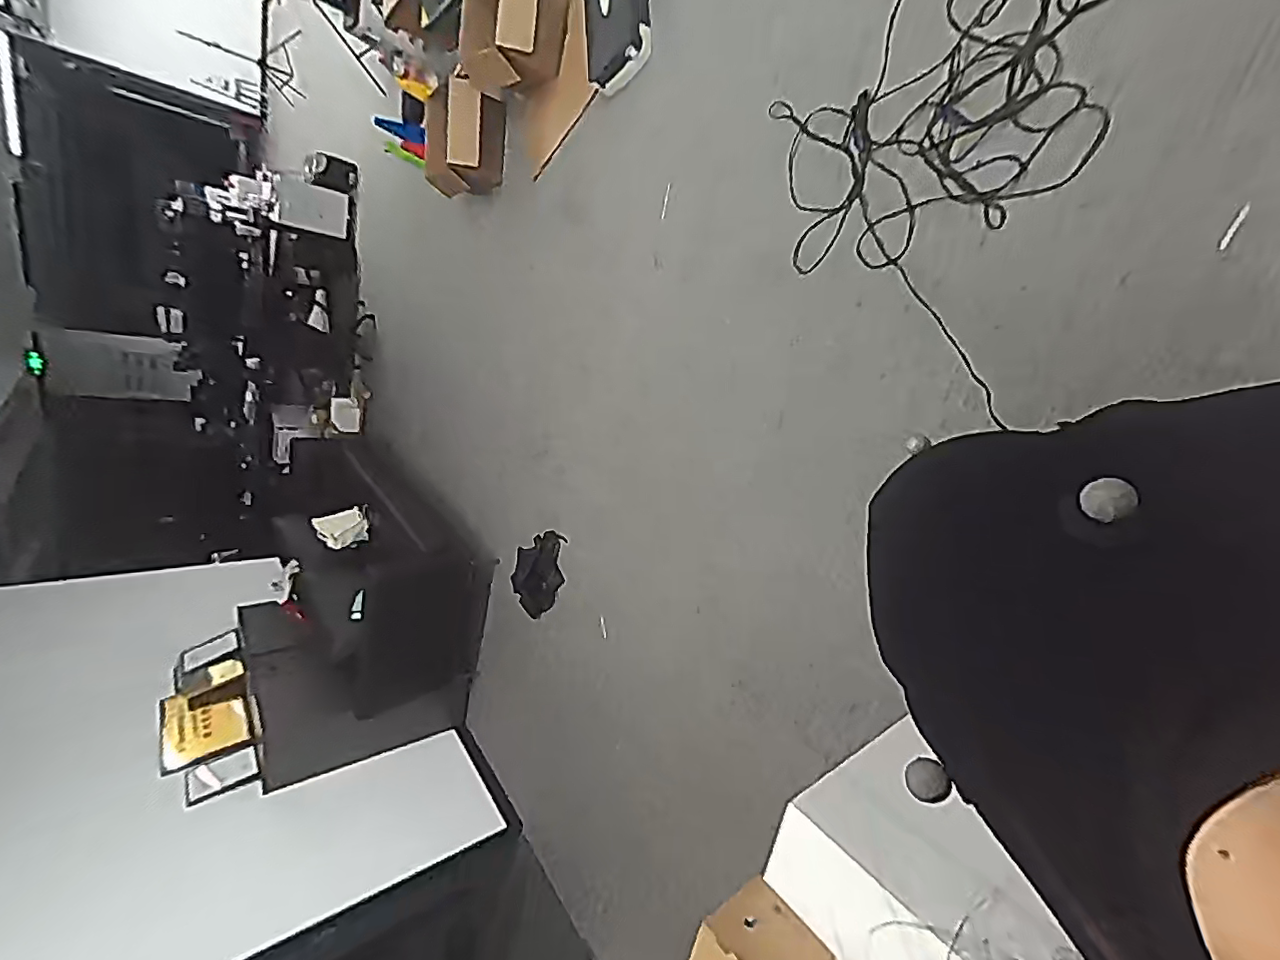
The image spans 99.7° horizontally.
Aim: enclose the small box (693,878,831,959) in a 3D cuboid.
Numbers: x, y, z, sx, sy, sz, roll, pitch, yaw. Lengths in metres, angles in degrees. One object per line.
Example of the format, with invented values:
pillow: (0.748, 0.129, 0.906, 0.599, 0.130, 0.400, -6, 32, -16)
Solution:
small box: (0.206, 0.848, 0.932, 0.168, 0.176, 0.179, 29, 114, 46)
